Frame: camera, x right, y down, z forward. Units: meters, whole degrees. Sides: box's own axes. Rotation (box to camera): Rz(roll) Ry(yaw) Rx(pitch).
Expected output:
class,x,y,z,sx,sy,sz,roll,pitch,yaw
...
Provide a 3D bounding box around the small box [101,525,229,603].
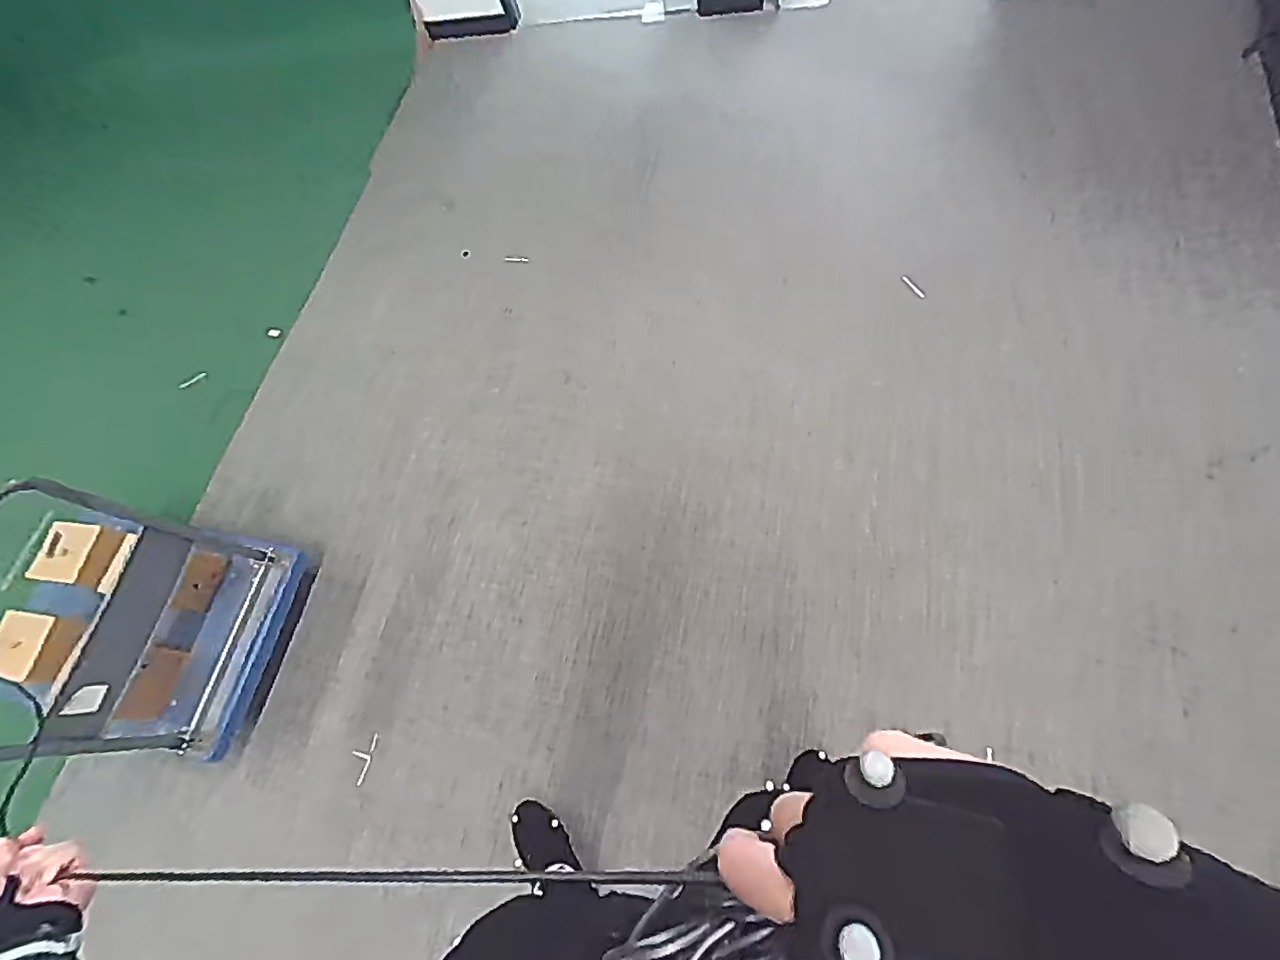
class,x,y,z,sx,sy,sz,roll,pitch,yaw
small box,-1.323,0.240,1.517,0.179,0.176,0.168,9,70,13

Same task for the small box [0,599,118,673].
class,x,y,z,sx,sy,sz,roll,pitch,yaw
small box,-1.619,0.435,1.492,0.179,0.176,0.168,5,68,12

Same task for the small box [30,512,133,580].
class,x,y,z,sx,sy,sz,roll,pitch,yaw
small box,-1.583,0.202,1.580,0.179,0.176,0.168,5,70,11
